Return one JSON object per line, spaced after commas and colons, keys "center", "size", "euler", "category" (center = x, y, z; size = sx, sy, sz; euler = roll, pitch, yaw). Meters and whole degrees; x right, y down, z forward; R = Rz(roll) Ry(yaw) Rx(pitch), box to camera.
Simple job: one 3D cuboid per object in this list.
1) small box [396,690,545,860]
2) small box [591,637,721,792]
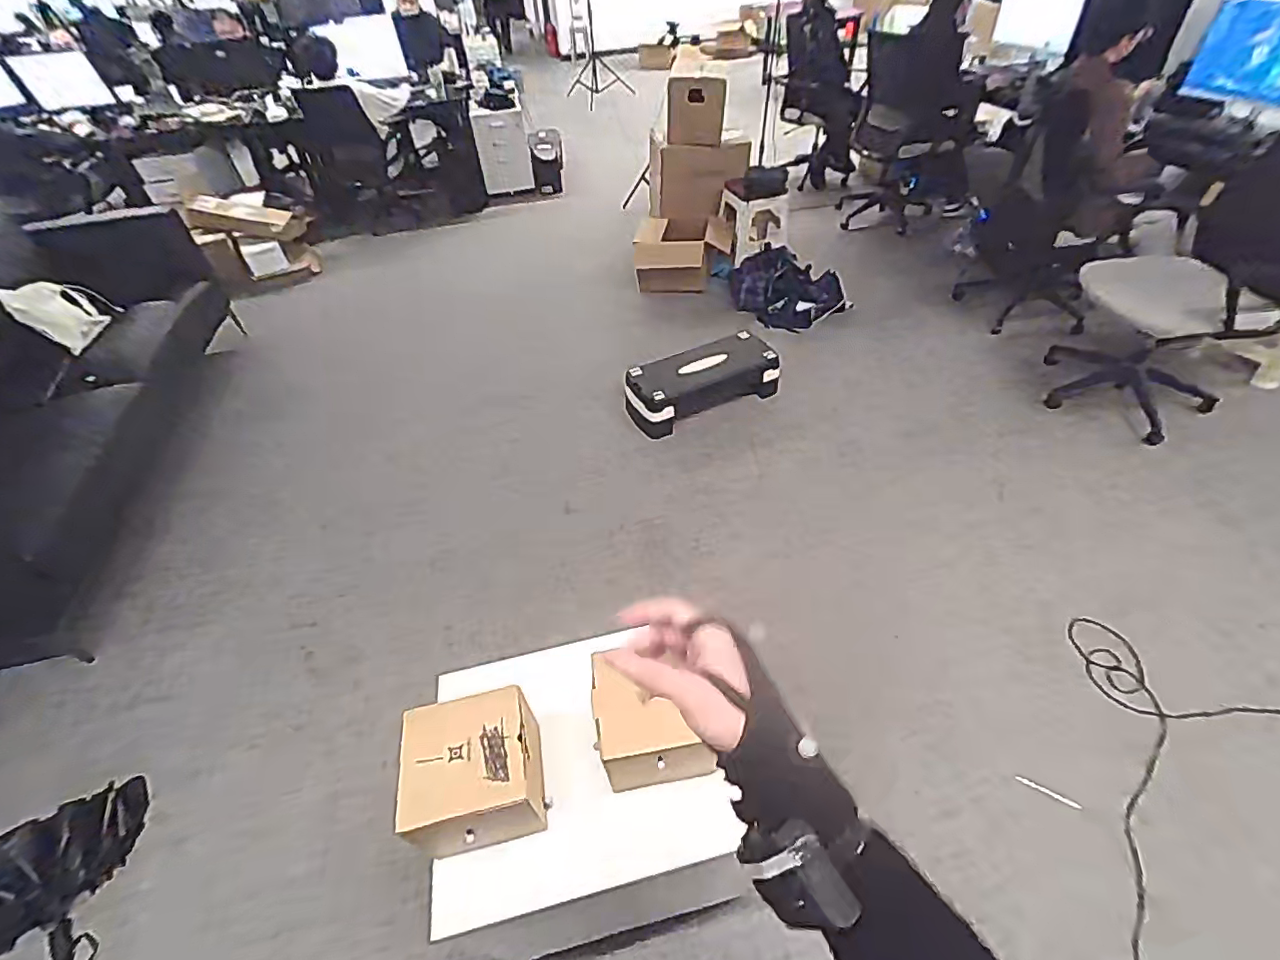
{"center": [-0.246, 0.449, 0.823], "size": [0.179, 0.176, 0.168], "euler": [-12, 45, -6], "category": "small box"}
{"center": [0.024, 0.380, 0.869], "size": [0.179, 0.176, 0.168], "euler": [-9, 47, -4], "category": "small box"}
